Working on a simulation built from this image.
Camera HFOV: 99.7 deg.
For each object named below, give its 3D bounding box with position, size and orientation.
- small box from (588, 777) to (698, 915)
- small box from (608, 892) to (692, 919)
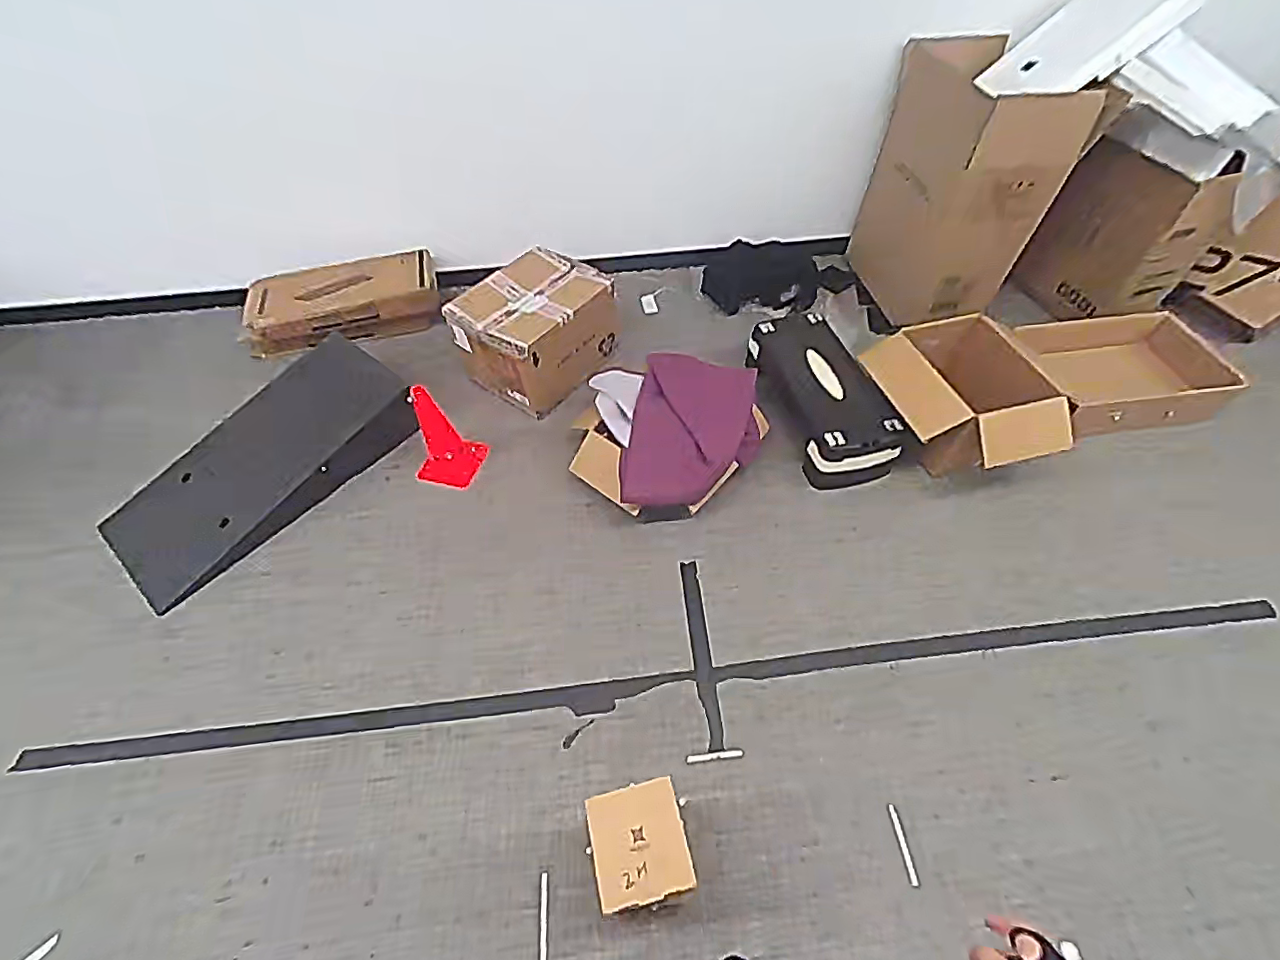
[{"bbox_3d":[0.004,0.686,1.013,0.168,0.176,0.179,-13,54,-5],"label":"small box"},{"bbox_3d":[0.009,0.795,1.137,0.168,0.176,0.179,-9,54,-3],"label":"small box"}]
